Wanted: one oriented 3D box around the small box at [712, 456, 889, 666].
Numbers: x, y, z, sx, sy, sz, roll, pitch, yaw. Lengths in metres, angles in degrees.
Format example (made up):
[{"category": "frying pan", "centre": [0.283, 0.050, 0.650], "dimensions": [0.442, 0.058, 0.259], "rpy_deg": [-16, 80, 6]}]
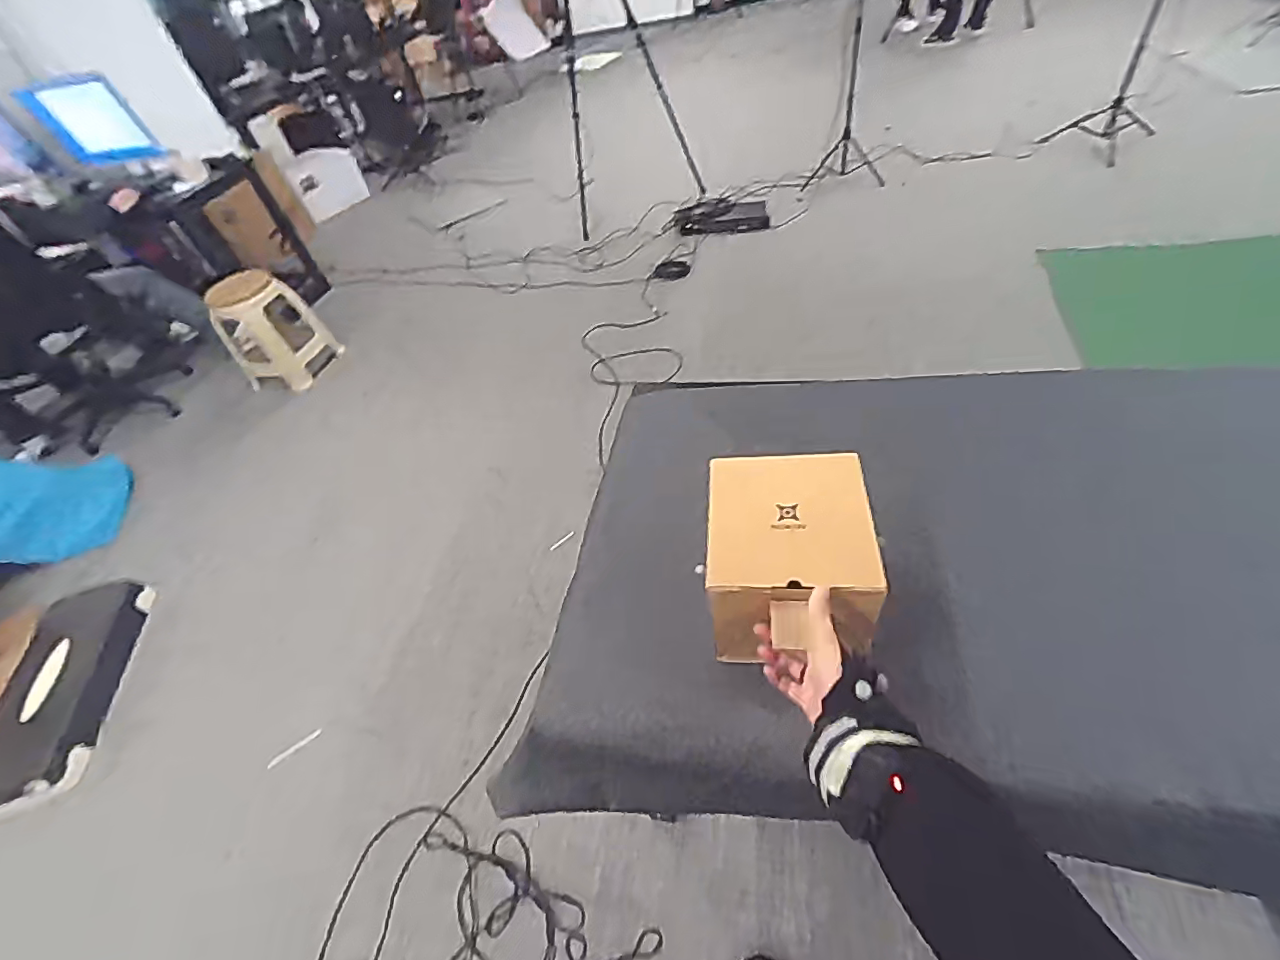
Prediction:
[{"category": "small box", "centre": [0.169, 0.093, 0.622], "dimensions": [0.168, 0.176, 0.179], "rpy_deg": [-2, 48, 10]}]
